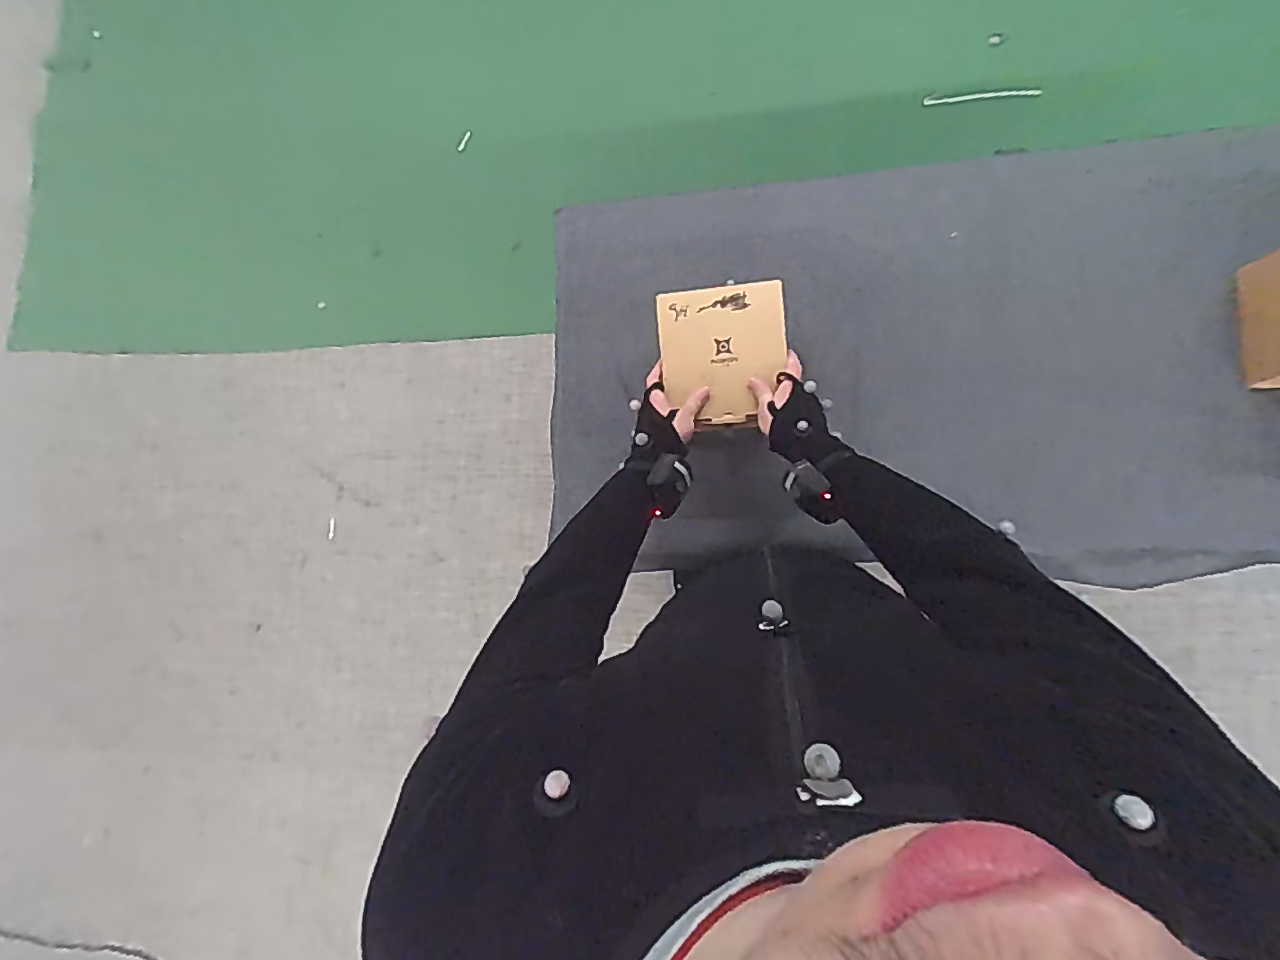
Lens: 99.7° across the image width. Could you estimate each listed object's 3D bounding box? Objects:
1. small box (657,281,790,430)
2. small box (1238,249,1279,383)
[{"bbox_3d":[0.119,-0.166,0.782,0.168,0.176,0.179,-5,91,7],"label":"small box"},{"bbox_3d":[0.918,-0.223,0.674,0.168,0.176,0.179,1,82,8],"label":"small box"}]
